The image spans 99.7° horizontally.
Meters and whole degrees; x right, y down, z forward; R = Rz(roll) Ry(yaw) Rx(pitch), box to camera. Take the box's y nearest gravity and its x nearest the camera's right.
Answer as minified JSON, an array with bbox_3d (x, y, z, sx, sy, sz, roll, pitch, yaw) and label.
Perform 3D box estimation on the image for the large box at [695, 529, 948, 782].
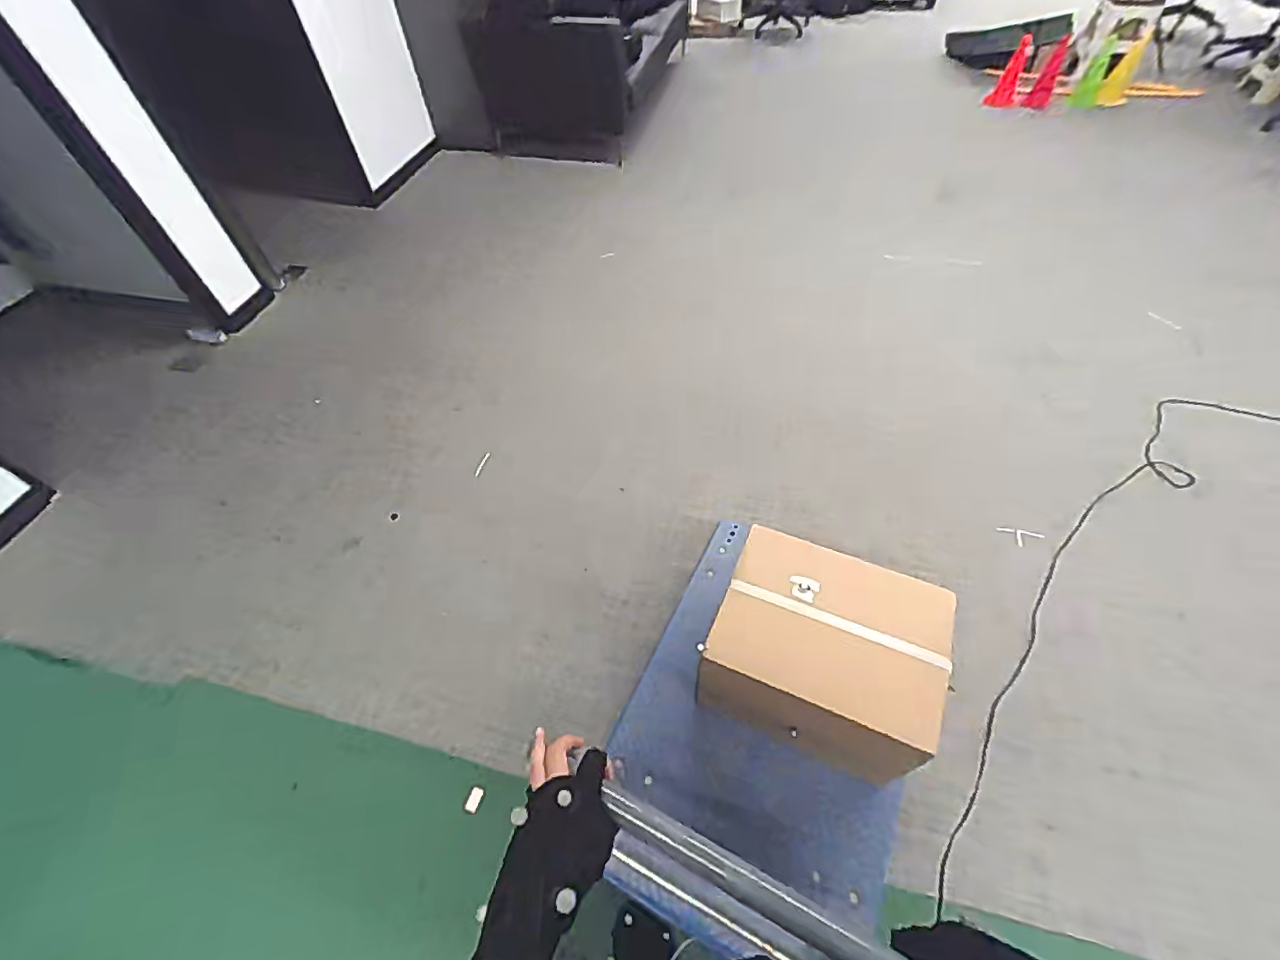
[{"bbox_3d":[0.355,0.360,1.119,0.408,0.320,0.320,18,55,19],"label":"large box"}]
